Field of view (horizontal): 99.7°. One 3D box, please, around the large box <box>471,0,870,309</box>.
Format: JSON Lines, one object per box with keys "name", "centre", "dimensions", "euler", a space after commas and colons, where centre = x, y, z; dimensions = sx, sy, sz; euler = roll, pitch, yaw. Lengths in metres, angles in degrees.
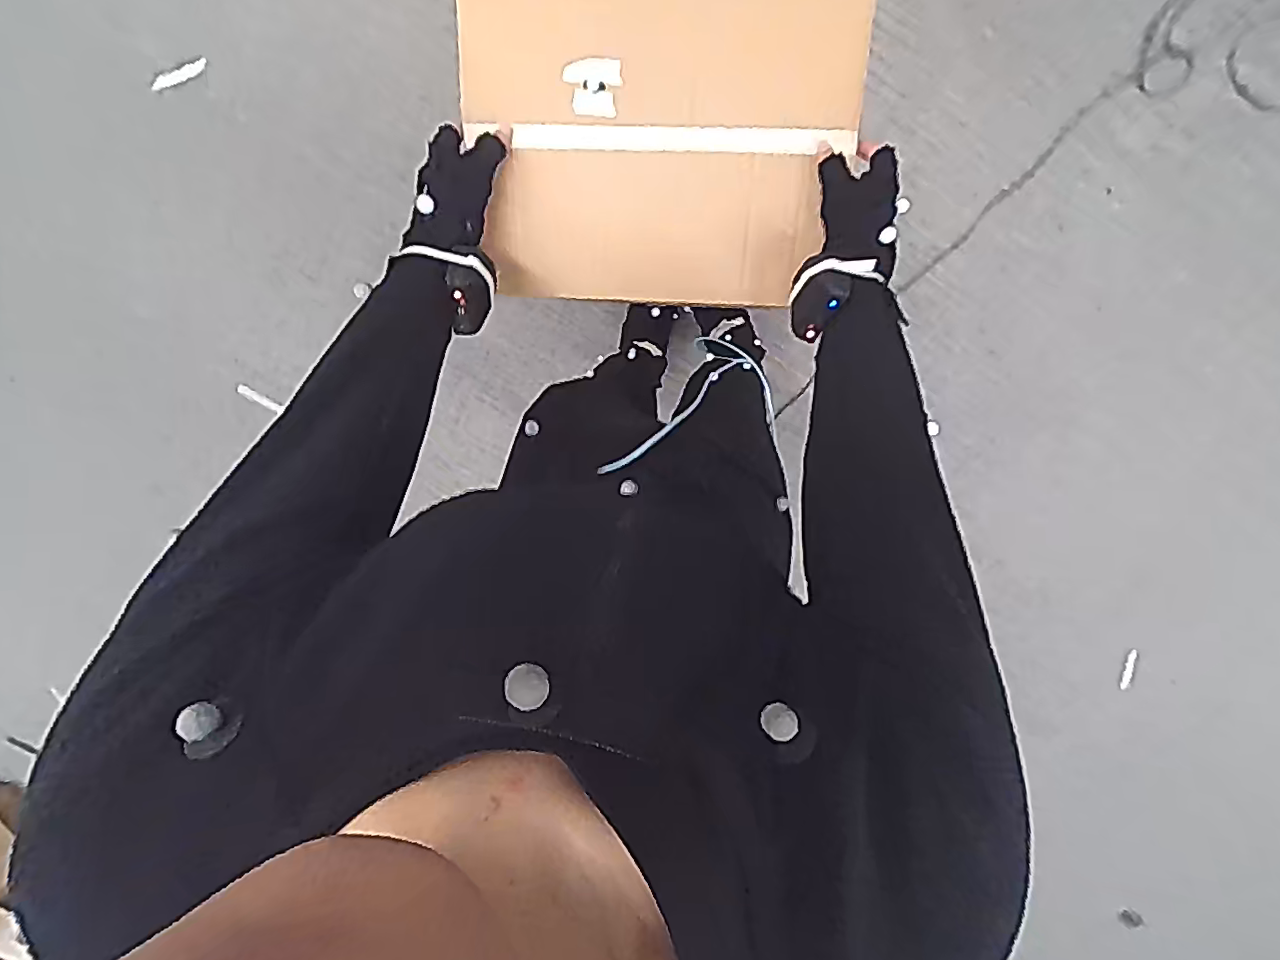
{"name": "large box", "centre": [0.033, -0.398, 0.714], "dimensions": [0.408, 0.320, 0.320], "euler": [4, 107, 3]}
